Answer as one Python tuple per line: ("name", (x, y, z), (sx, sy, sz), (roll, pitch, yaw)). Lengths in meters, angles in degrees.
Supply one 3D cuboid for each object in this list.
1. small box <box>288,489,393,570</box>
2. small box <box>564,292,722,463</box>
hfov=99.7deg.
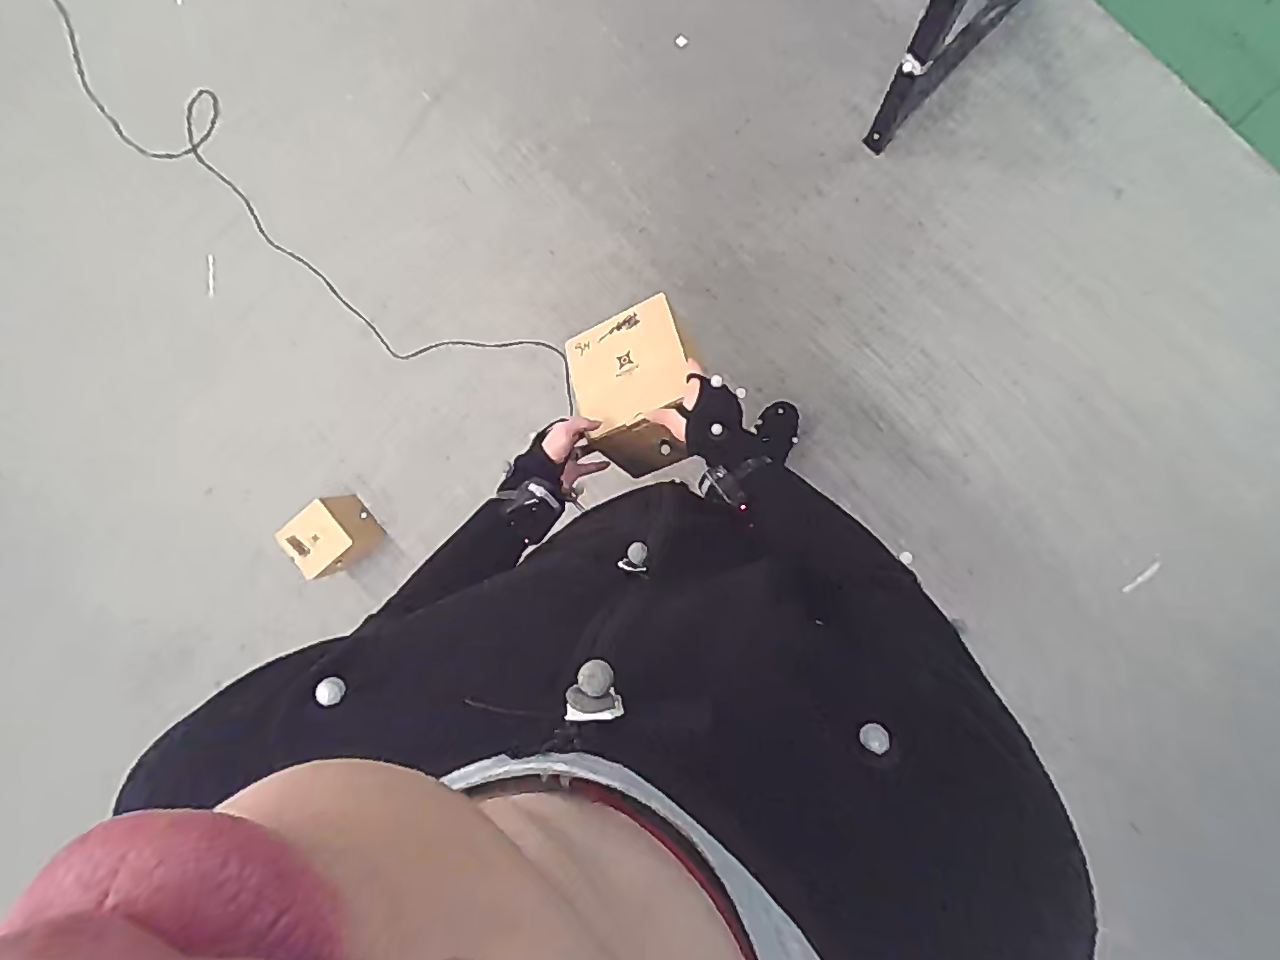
("small box", (-0.887, 0.142, 1.618), (0.179, 0.176, 0.168), (-39, 88, 6))
("small box", (0.009, -0.140, 0.821), (0.168, 0.176, 0.179), (-22, 66, 17))
